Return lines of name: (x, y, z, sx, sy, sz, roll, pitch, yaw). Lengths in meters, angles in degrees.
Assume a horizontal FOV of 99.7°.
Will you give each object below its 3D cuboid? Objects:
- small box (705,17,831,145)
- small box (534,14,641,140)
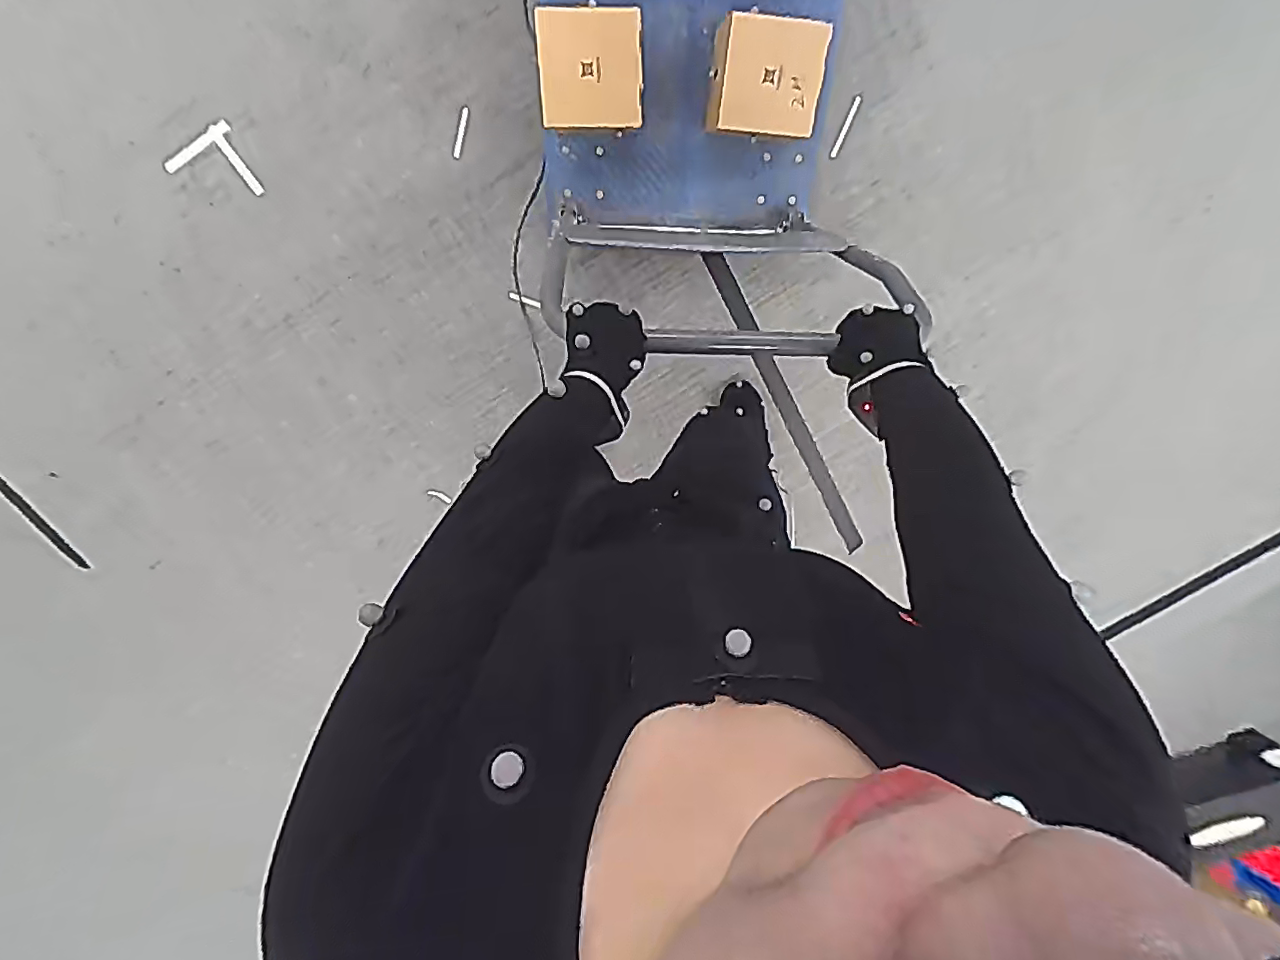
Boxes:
small box: (0.225, -0.730, 1.007, 0.179, 0.176, 0.168, 2, 120, -5)
small box: (-0.092, -0.725, 0.988, 0.179, 0.176, 0.168, -4, 120, -4)
